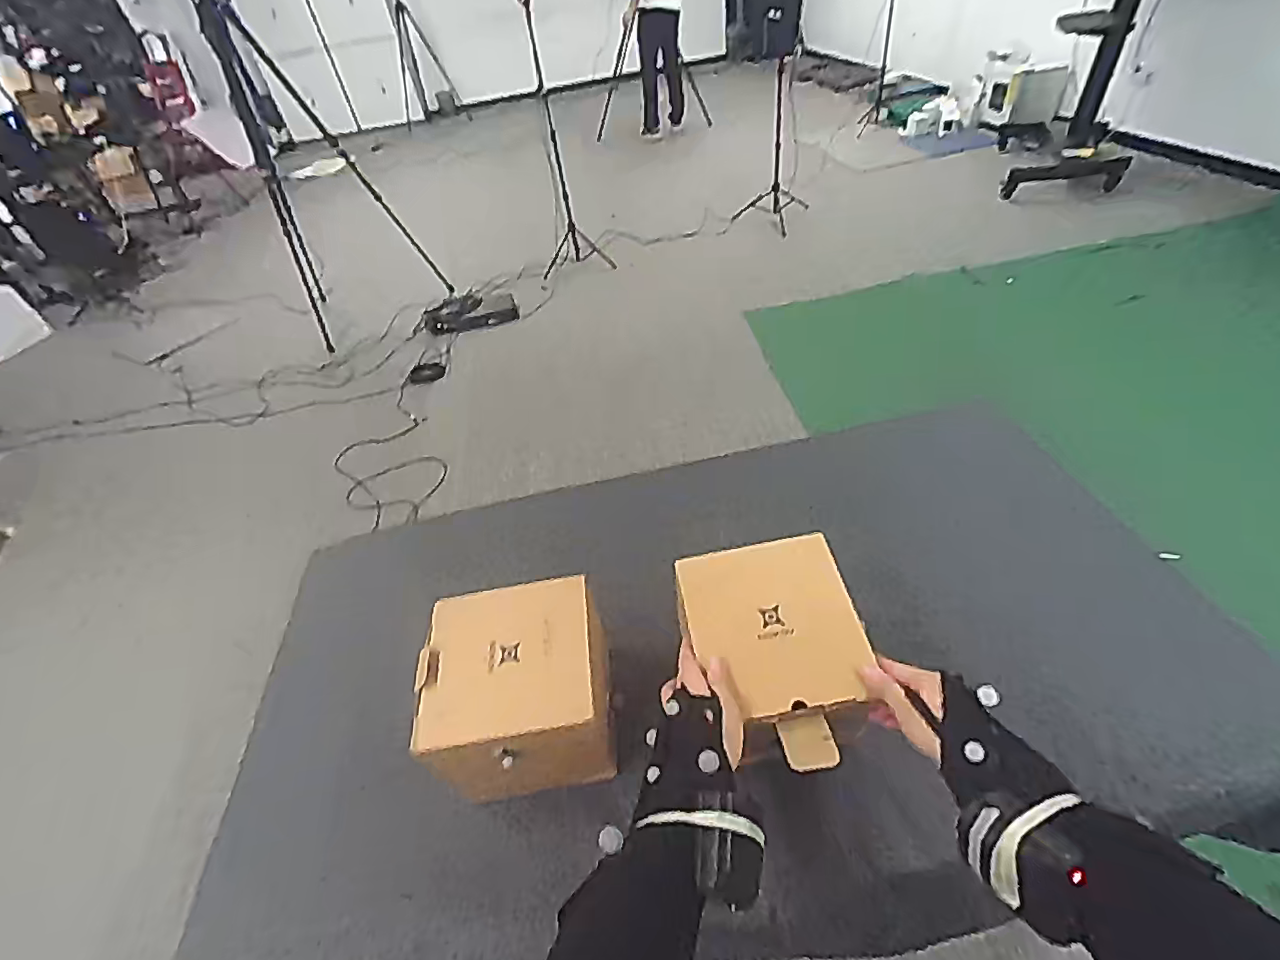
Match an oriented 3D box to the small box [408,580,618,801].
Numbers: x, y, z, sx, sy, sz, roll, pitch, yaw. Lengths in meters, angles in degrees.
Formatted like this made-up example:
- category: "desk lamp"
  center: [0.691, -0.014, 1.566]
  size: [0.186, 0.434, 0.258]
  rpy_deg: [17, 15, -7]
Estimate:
- category: "small box"
  center: [-0.127, 0.239, 0.607]
  size: [0.179, 0.176, 0.168]
  rpy_deg: [-9, 44, 0]
